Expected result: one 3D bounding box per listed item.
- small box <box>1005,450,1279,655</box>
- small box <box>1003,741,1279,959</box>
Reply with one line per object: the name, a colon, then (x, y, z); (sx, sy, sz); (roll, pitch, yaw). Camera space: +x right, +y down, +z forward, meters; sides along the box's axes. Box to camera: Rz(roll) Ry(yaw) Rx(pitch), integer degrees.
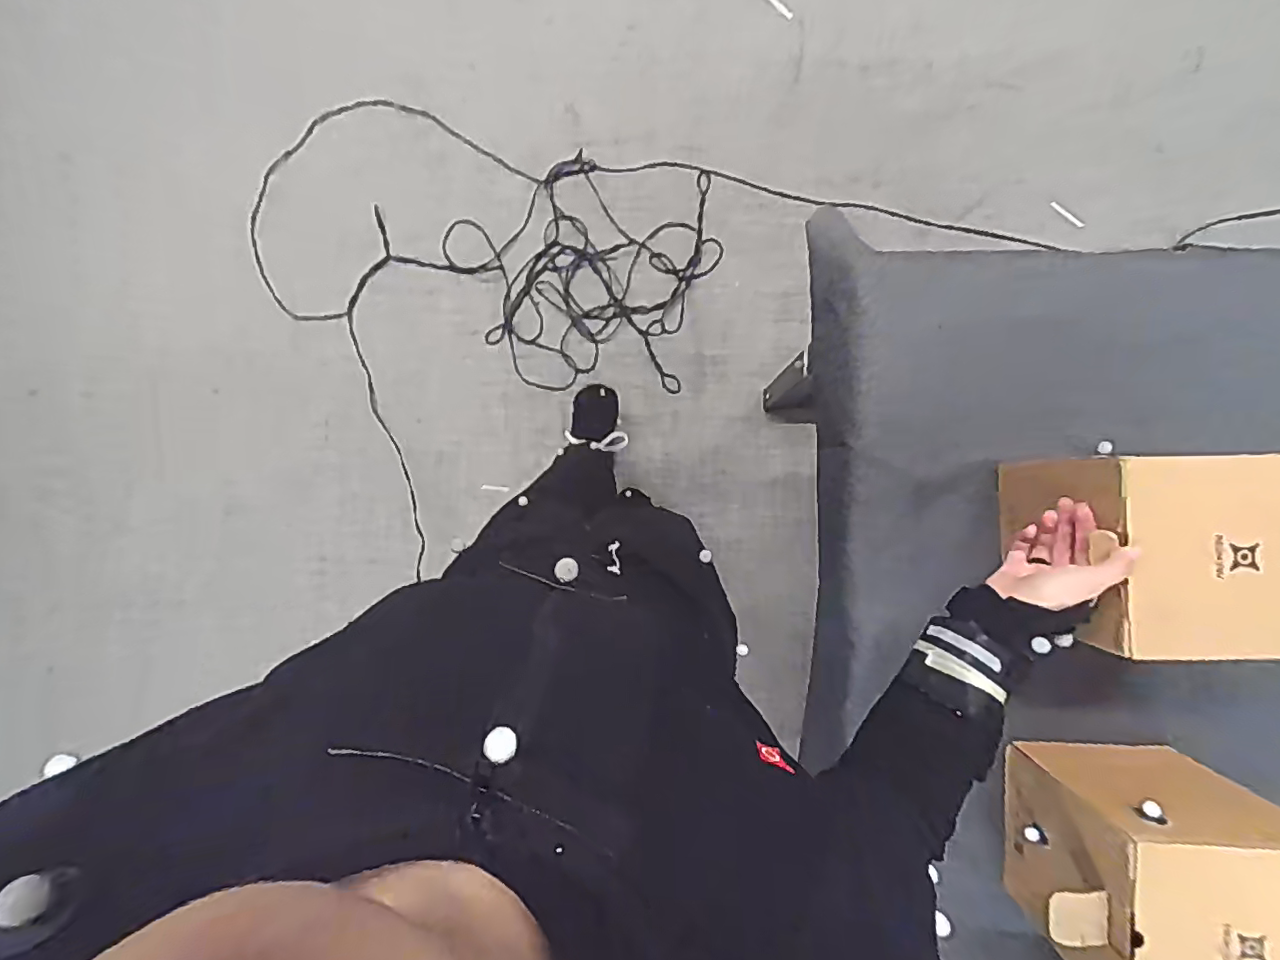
small box: (0.480, 0.057, 0.513); (0.179, 0.176, 0.168); (-1, 91, 2)
small box: (0.489, 0.370, 0.516); (0.179, 0.176, 0.168); (0, 91, 4)
